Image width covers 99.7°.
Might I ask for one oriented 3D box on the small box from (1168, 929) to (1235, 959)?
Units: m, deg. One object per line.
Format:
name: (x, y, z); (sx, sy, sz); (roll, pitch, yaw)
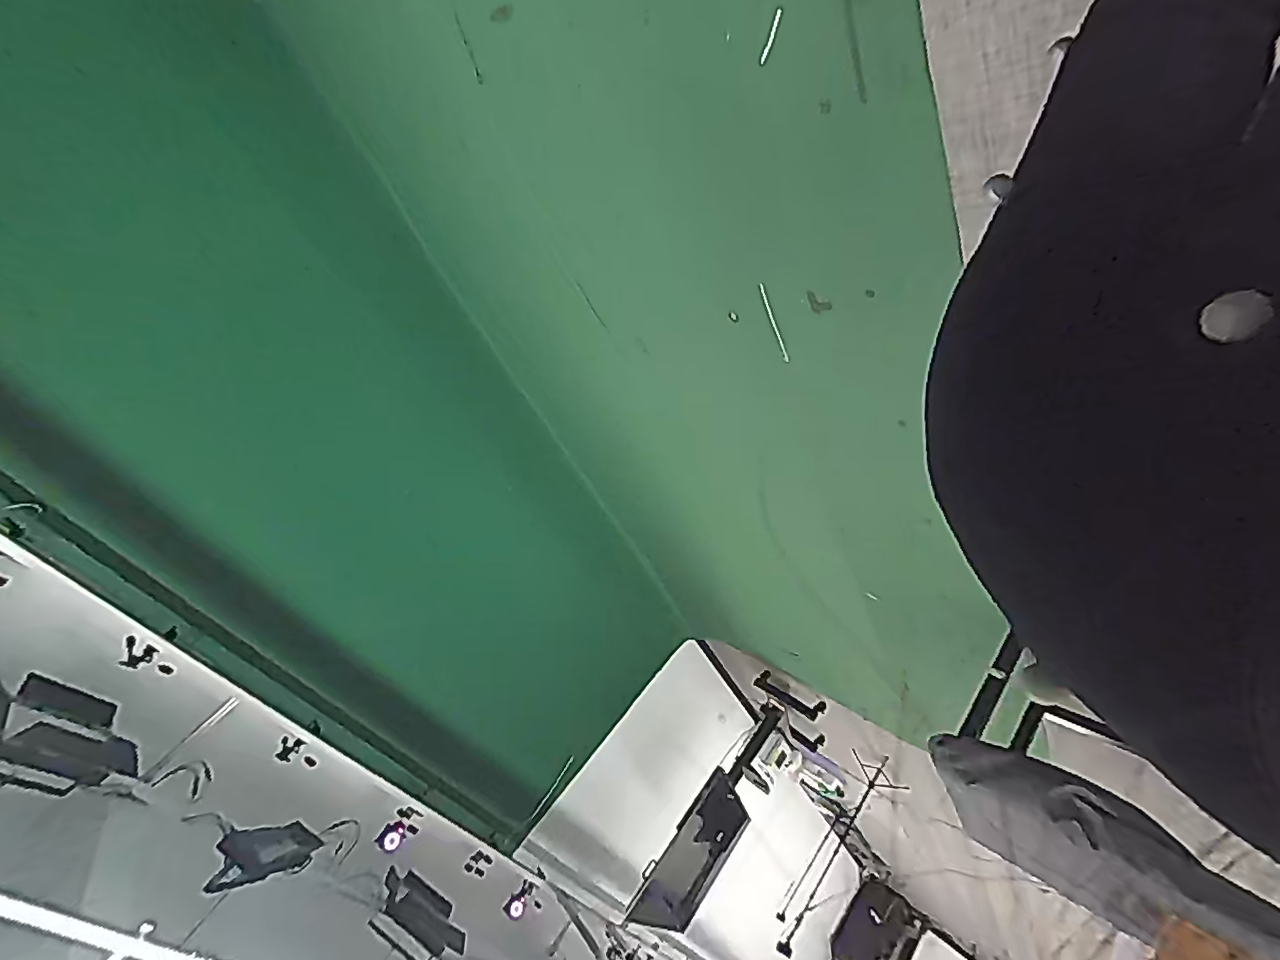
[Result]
small box: (1.462, 1.306, 1.381); (0.168, 0.176, 0.179); (15, 145, 52)
